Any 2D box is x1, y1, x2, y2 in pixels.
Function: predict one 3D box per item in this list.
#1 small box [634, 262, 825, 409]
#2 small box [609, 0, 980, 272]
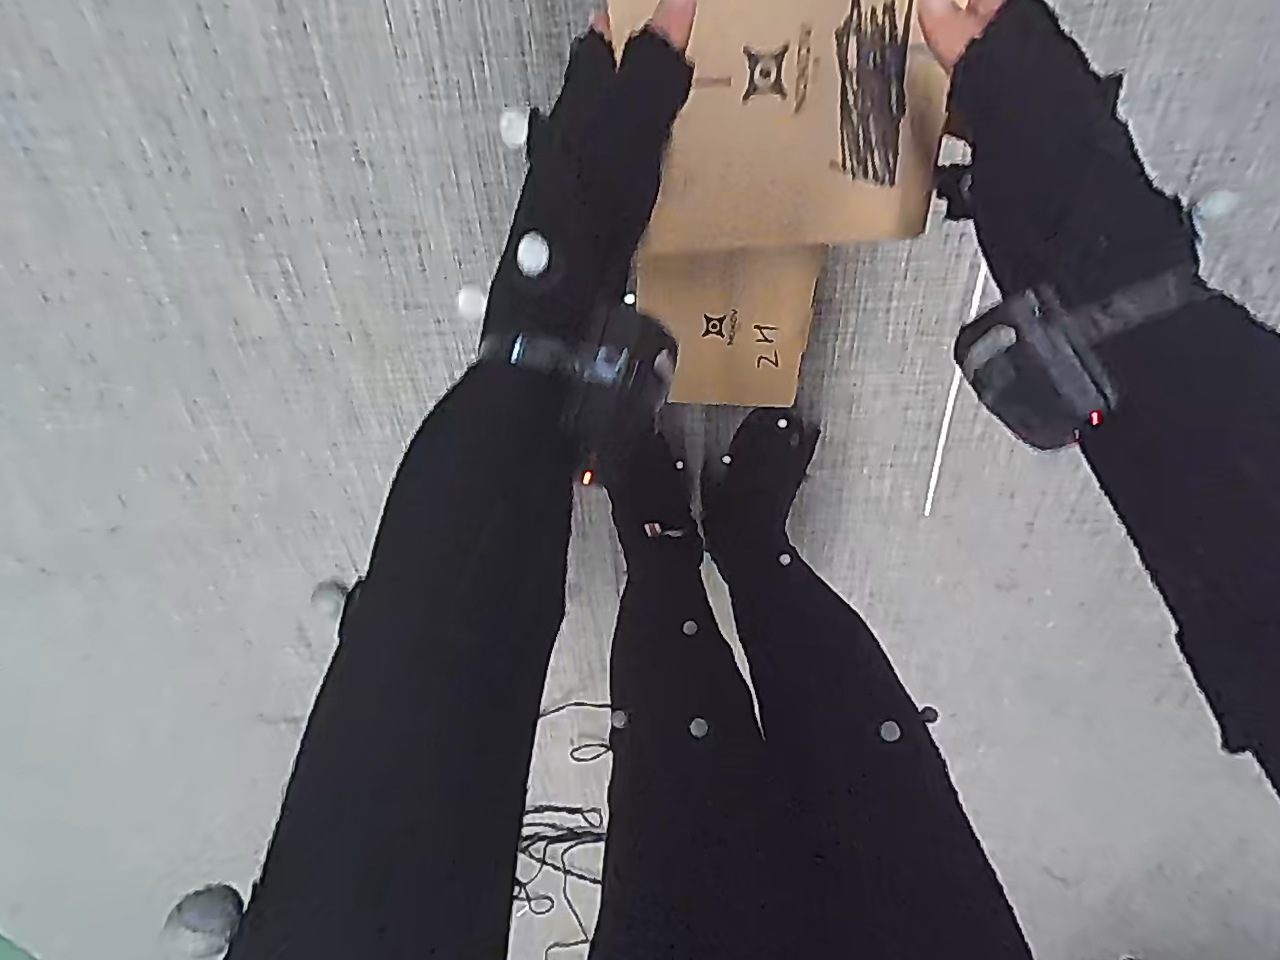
[{"bbox_3d":[0.086,-0.191,0.609,0.179,0.176,0.168,2,120,0],"label":"small box"},{"bbox_3d":[0.080,-0.241,0.341,0.179,0.176,0.168,-1,124,7],"label":"small box"}]
